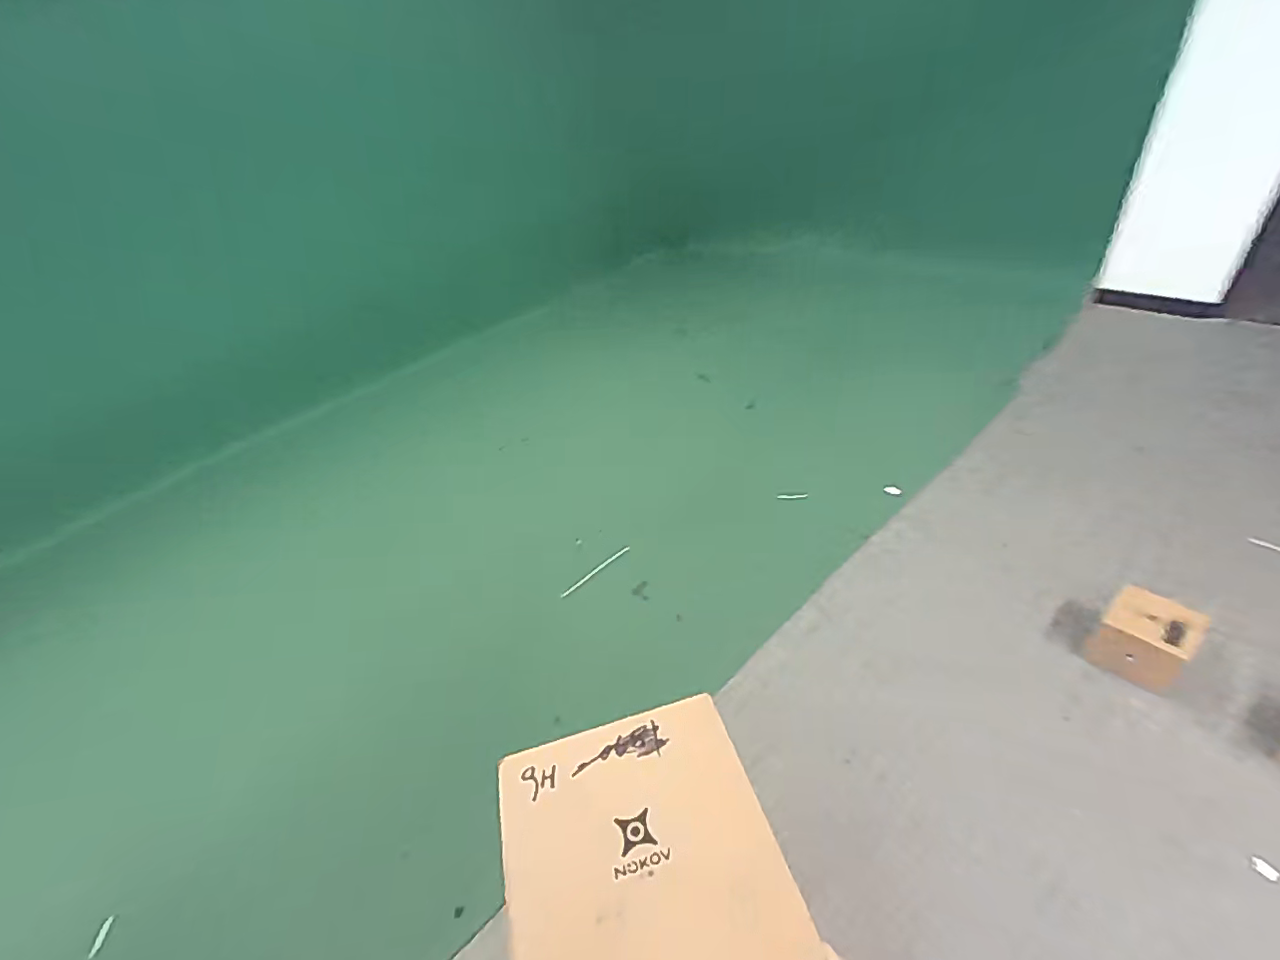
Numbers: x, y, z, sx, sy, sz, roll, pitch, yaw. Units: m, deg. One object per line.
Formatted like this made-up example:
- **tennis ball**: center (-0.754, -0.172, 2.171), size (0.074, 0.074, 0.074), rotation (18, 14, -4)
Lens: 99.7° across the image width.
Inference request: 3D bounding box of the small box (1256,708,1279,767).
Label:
- **small box**: center (1.523, 0.566, 1.178), size (0.179, 0.176, 0.168), rotation (-32, 44, -19)
